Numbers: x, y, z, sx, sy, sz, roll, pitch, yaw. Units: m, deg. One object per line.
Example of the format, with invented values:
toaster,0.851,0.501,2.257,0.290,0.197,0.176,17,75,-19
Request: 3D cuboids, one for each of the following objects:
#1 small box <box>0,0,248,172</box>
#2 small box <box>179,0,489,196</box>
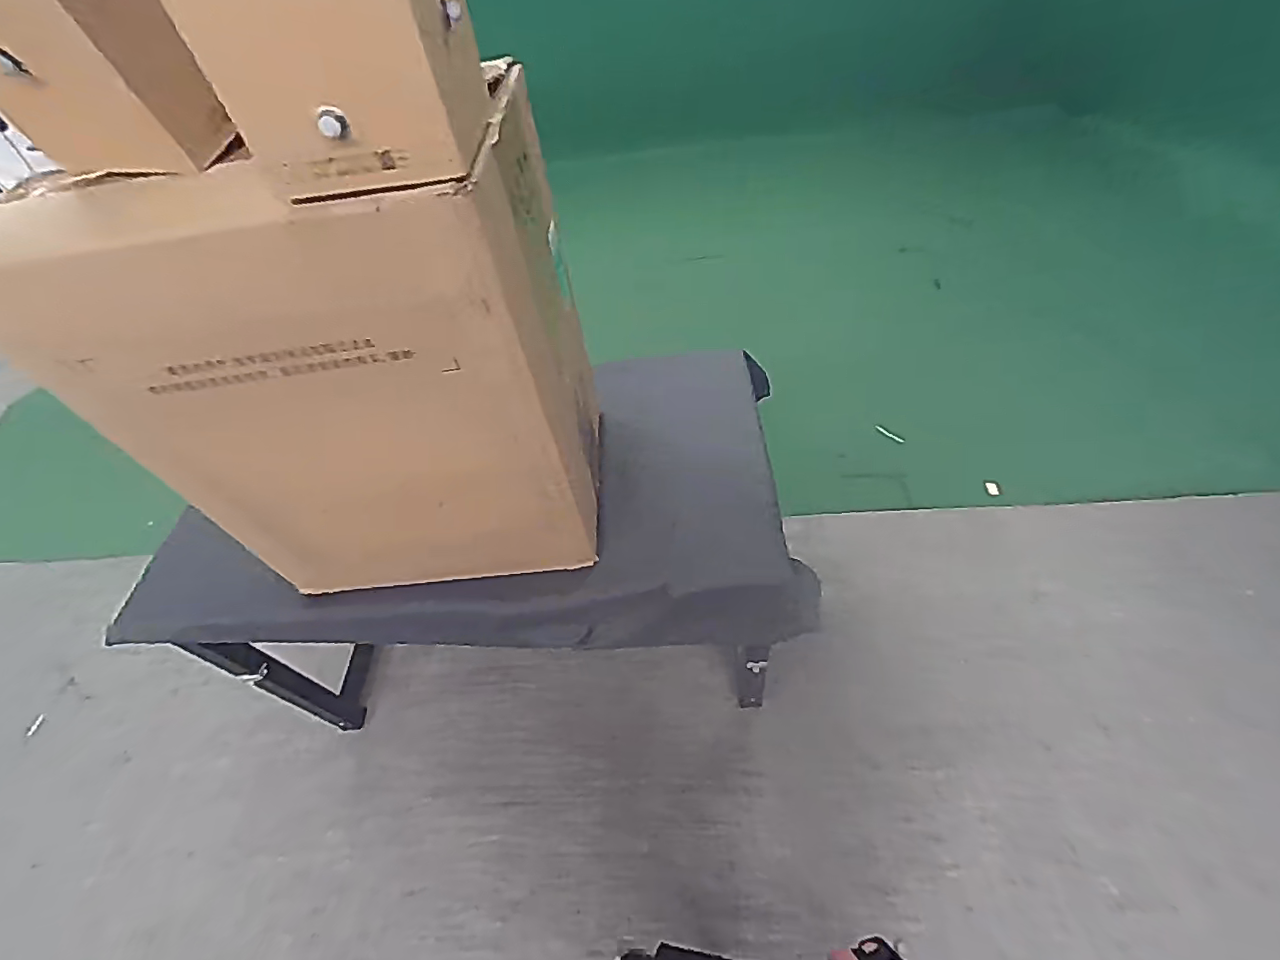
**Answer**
small box,-0.501,-0.418,0.510,0.179,0.176,0.168,6,64,11
small box,-0.236,-0.362,0.448,0.168,0.176,0.179,-6,52,3
